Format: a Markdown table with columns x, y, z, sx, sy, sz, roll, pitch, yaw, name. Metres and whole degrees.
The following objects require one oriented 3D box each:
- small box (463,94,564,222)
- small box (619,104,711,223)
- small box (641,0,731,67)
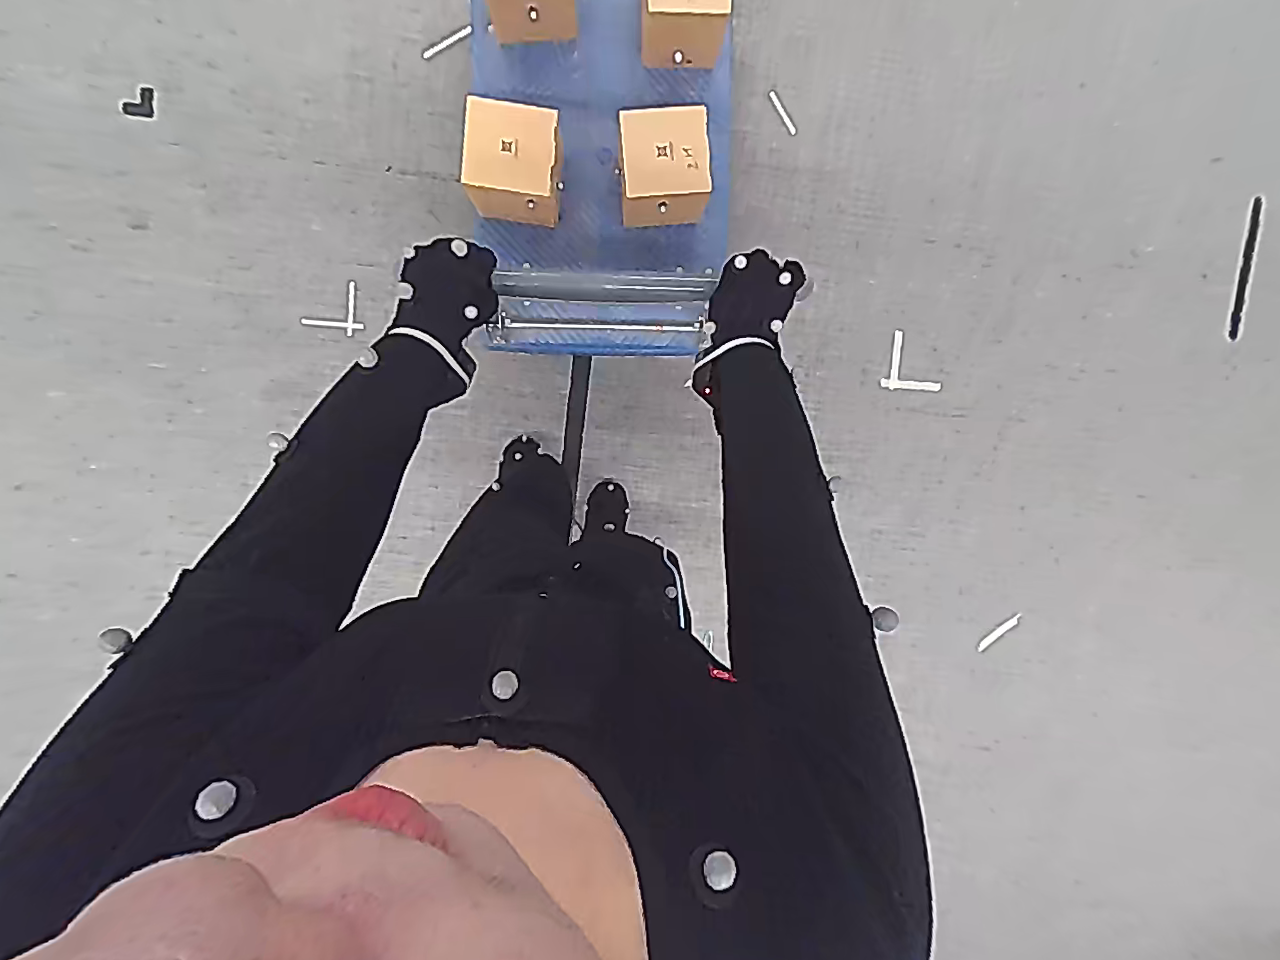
| x | y | z | sx | sy | sz | roll | pitch | yaw | name |
| --- | --- | --- | --- | --- | --- | --- | --- | --- | --- |
| -0.259 | -0.664 | 1.136 | 0.179 | 0.176 | 0.168 | 6 | 95 | -6 | small box |
| 0.048 | -0.666 | 1.155 | 0.179 | 0.176 | 0.168 | -5 | 97 | -3 | small box |
| 0.091 | -1.007 | 1.121 | 0.168 | 0.176 | 0.179 | -1 | 97 | -4 | small box |
